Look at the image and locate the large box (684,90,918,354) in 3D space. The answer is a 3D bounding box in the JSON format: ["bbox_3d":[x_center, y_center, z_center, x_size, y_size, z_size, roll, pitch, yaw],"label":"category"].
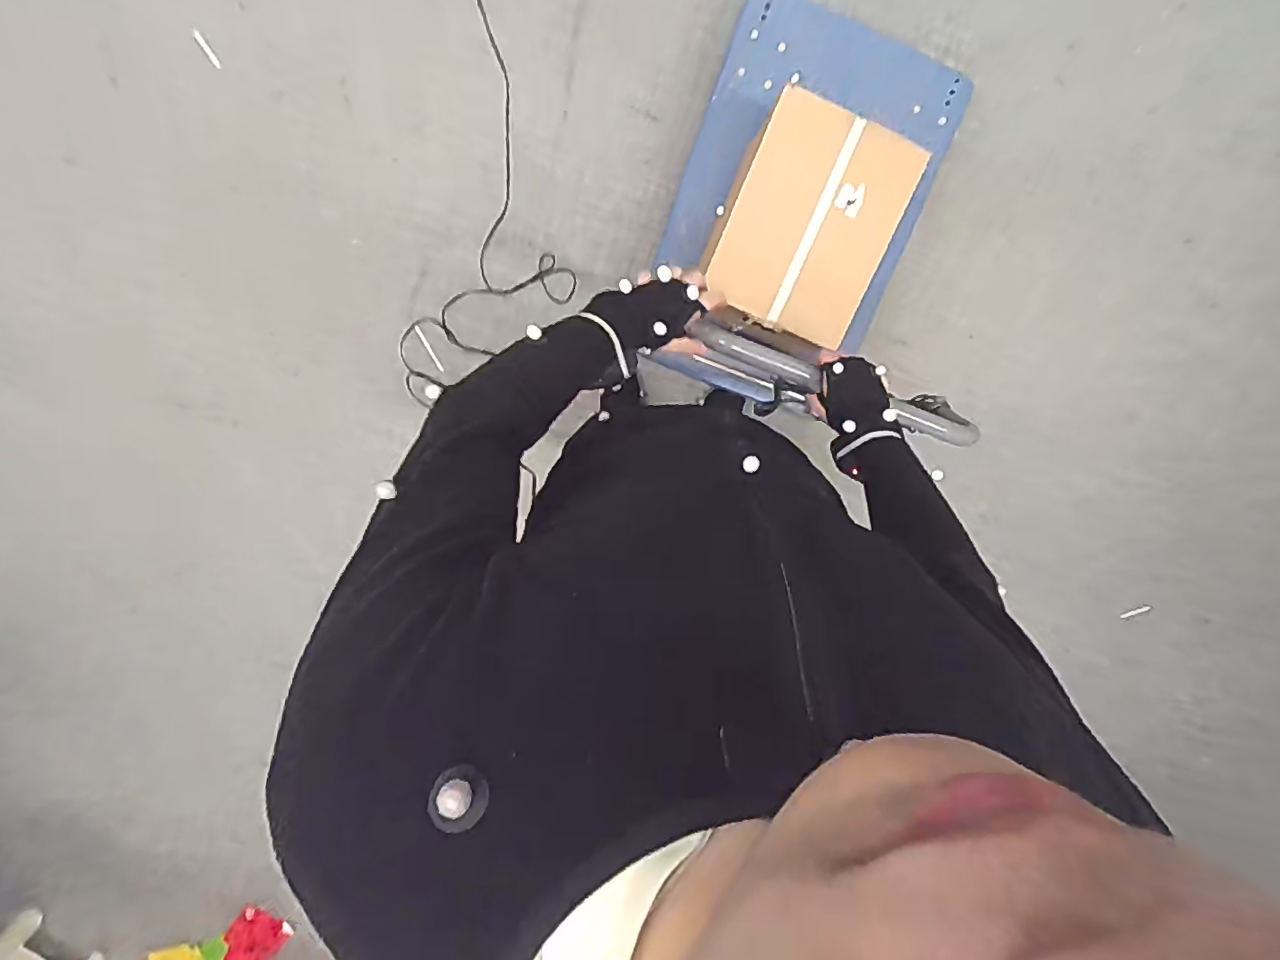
[{"bbox_3d":[0.322,-0.527,1.207,0.320,0.320,0.408,22,100,-7],"label":"large box"}]
